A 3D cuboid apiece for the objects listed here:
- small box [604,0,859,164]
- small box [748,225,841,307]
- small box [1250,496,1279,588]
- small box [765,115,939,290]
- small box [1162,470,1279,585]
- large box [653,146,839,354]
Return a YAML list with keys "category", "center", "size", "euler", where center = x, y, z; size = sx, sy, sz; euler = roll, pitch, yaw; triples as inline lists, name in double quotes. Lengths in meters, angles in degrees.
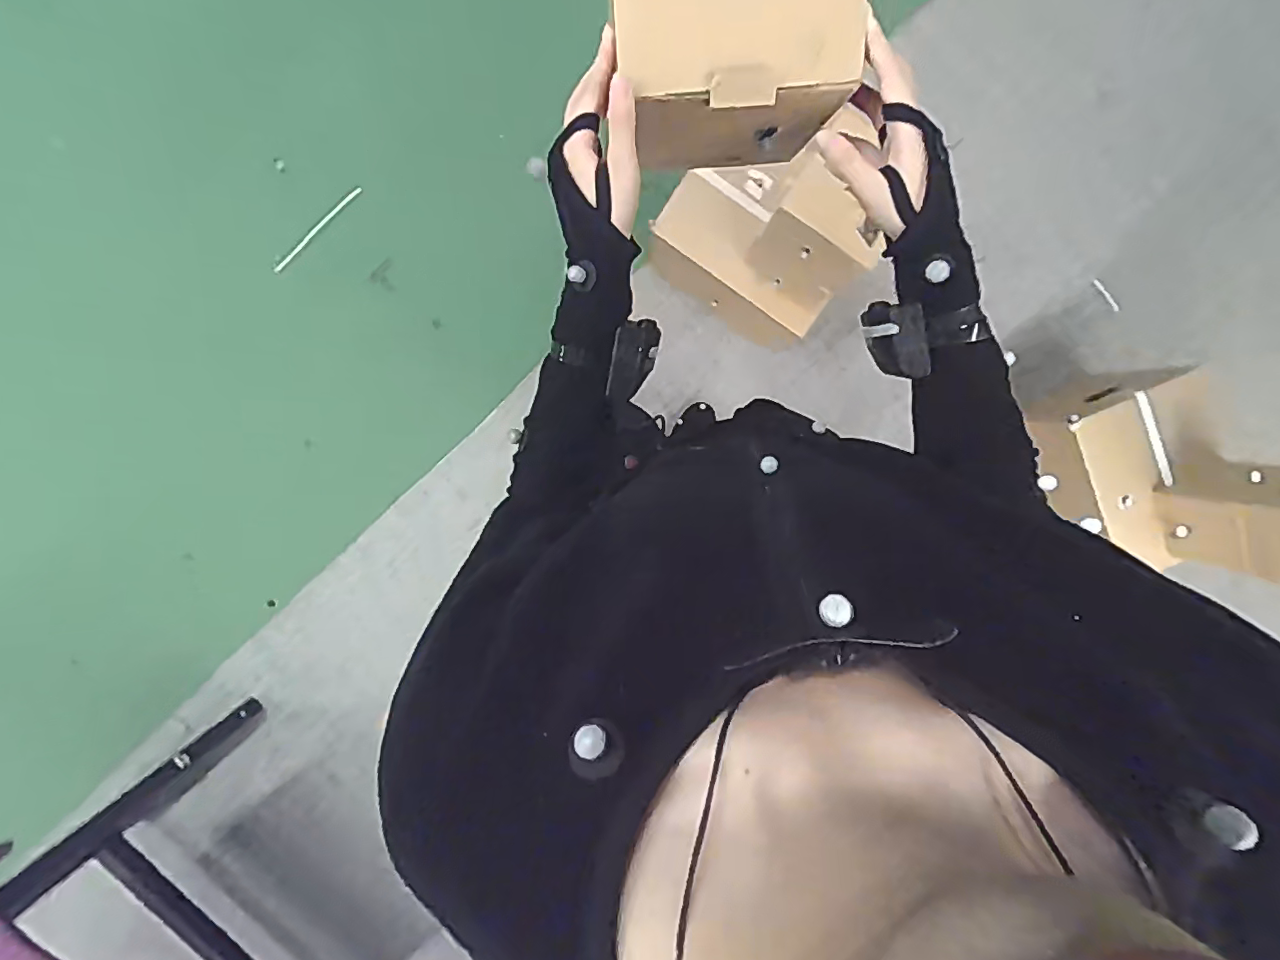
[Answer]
- category: "small box"
  center: [0.056, -0.360, 0.414]
  size: [0.168, 0.176, 0.179]
  euler: [-4, 104, -1]
- category: "small box"
  center: [0.336, -0.456, 1.048]
  size: [0.179, 0.176, 0.168]
  euler: [39, 96, -4]
- category: "small box"
  center: [1.248, 0.114, 0.945]
  size: [0.168, 0.176, 0.179]
  euler: [-21, 96, 2]
- category: "small box"
  center: [0.333, -0.435, 0.885]
  size: [0.179, 0.176, 0.168]
  euler: [35, 97, -2]
- category: "small box"
  center: [1.244, 0.087, 1.105]
  size: [0.179, 0.176, 0.168]
  euler: [-23, 96, 2]
- category: "large box"
  center: [0.281, -0.549, 1.285]
  size: [0.408, 0.320, 0.320]
  euler: [34, 95, -2]
